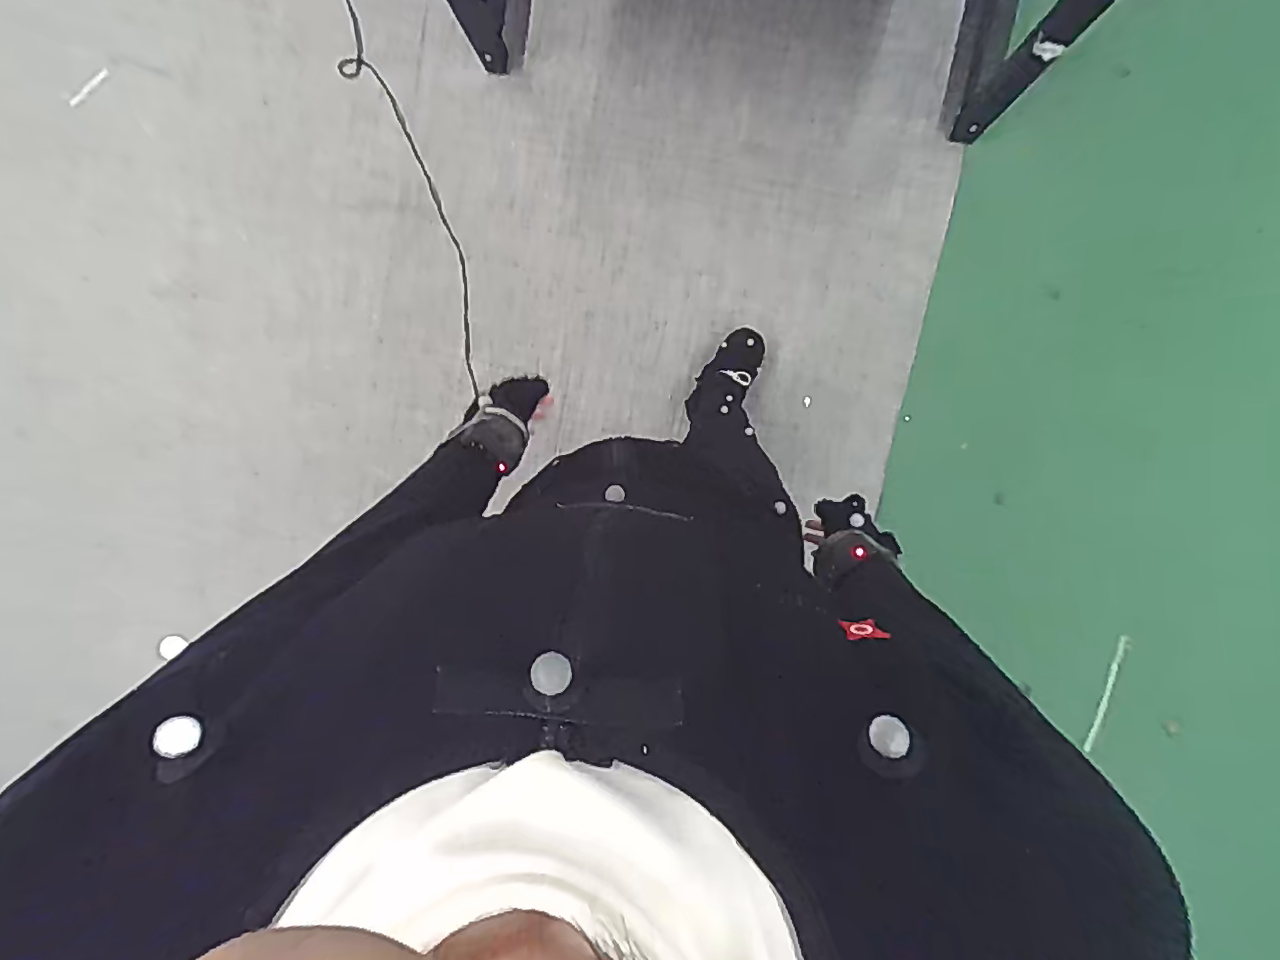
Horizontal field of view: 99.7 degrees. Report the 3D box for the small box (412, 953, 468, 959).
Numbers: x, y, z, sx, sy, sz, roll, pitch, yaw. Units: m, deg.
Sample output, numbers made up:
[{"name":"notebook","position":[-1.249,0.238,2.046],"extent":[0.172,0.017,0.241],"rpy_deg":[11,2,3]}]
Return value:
[{"name":"small box","position":[-0.602,1.496,1.536],"extent":[0.179,0.176,0.168],"rpy_deg":[-1,97,4]}]
